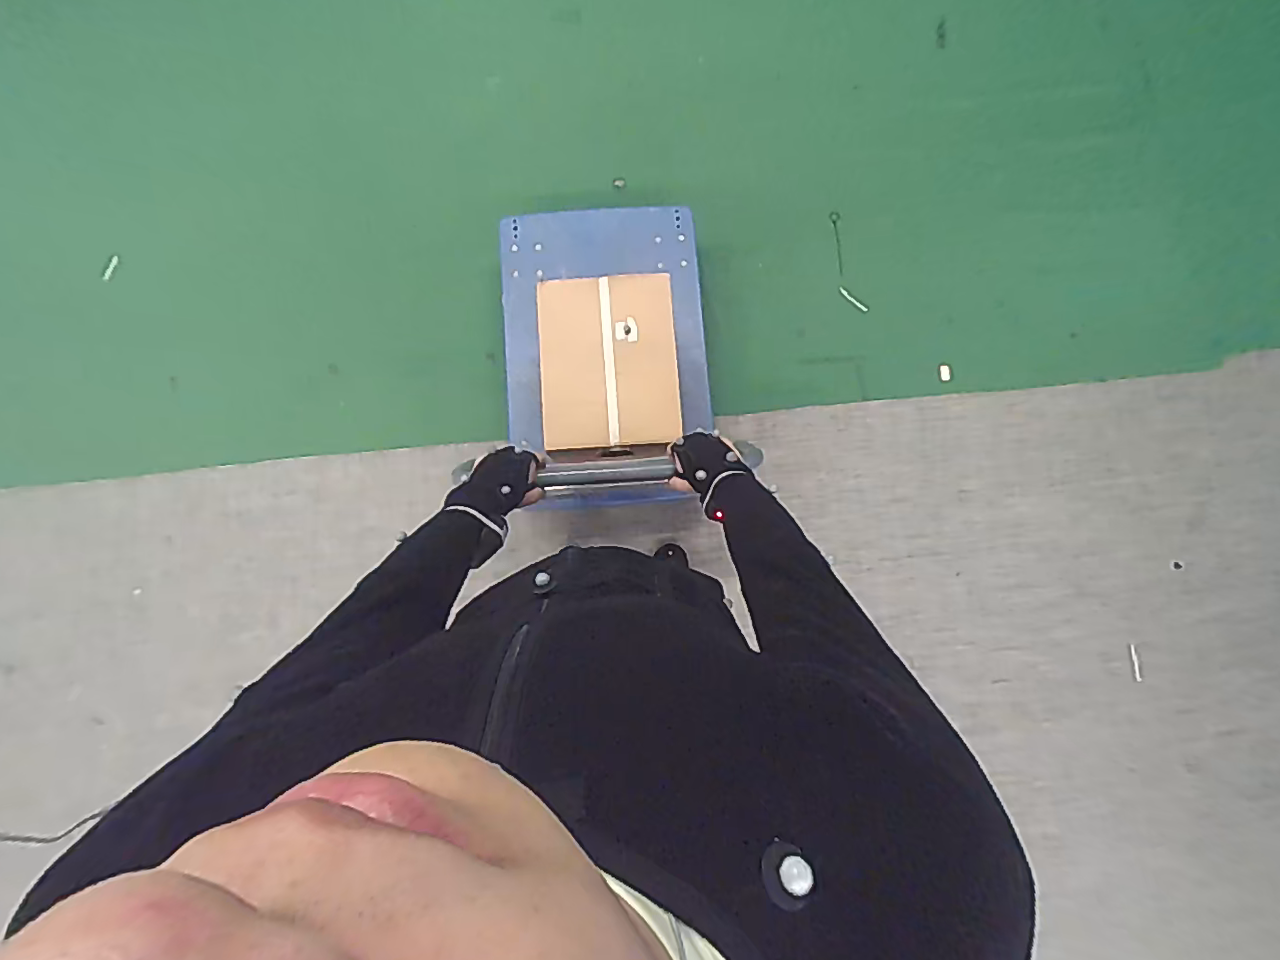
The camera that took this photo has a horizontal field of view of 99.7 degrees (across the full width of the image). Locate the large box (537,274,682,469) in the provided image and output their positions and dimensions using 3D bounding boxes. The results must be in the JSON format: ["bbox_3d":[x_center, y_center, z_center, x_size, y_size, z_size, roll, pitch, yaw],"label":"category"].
[{"bbox_3d":[-0.073,-0.257,1.387,0.320,0.320,0.408,-4,83,-1],"label":"large box"}]
